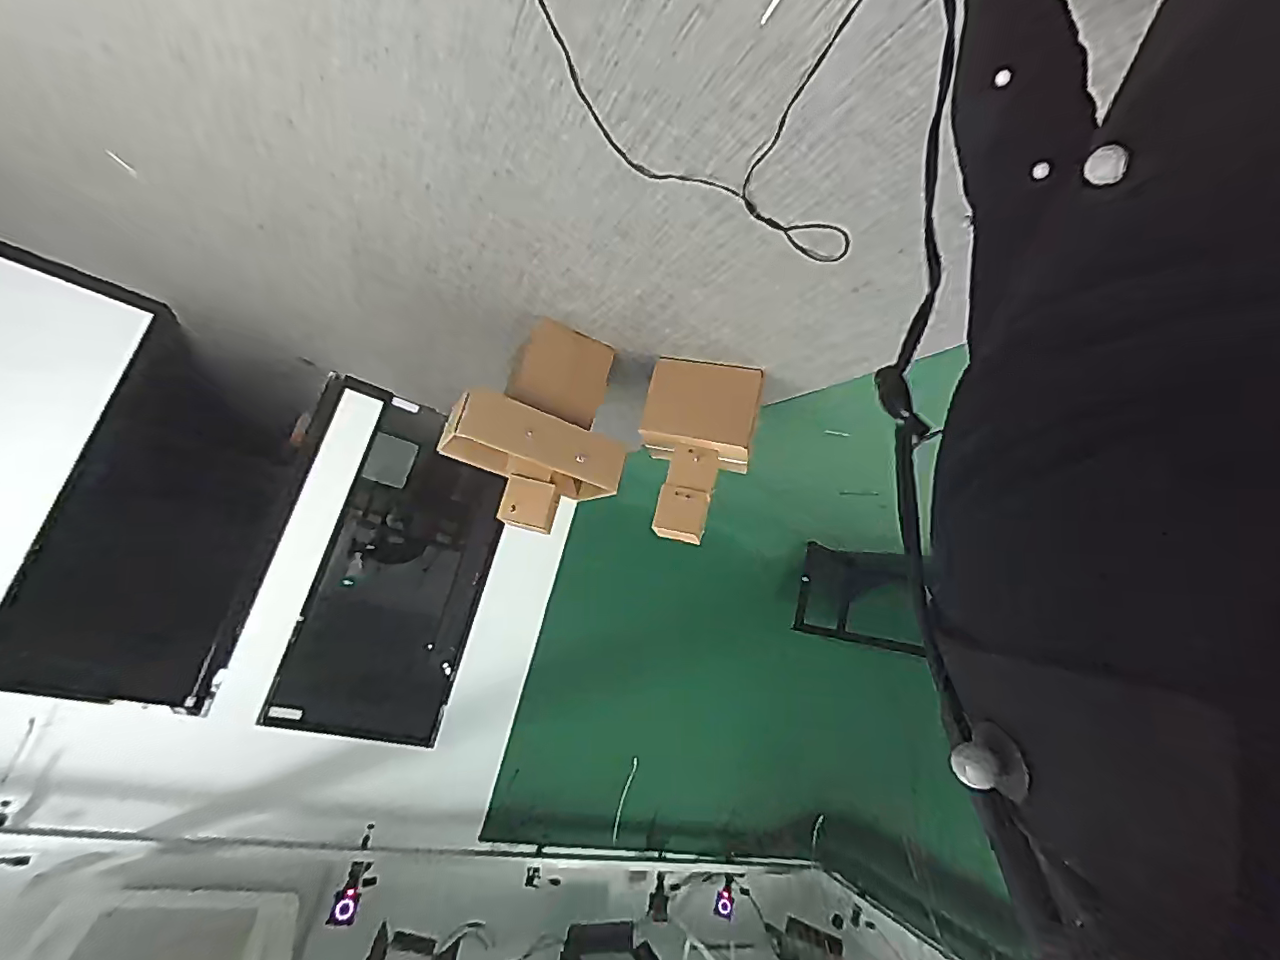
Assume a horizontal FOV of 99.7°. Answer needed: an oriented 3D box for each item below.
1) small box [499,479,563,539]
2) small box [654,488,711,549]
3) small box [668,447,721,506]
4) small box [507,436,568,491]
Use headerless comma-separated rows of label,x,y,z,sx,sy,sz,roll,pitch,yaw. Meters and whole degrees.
small box,-0.398,0.105,2.001,0.179,0.176,0.168,14,166,3
small box,0.162,0.143,1.992,0.168,0.176,0.179,11,165,14
small box,0.209,-0.006,2.038,0.168,0.176,0.179,12,165,11
small box,-0.381,-0.053,2.052,0.179,0.176,0.168,13,164,5
